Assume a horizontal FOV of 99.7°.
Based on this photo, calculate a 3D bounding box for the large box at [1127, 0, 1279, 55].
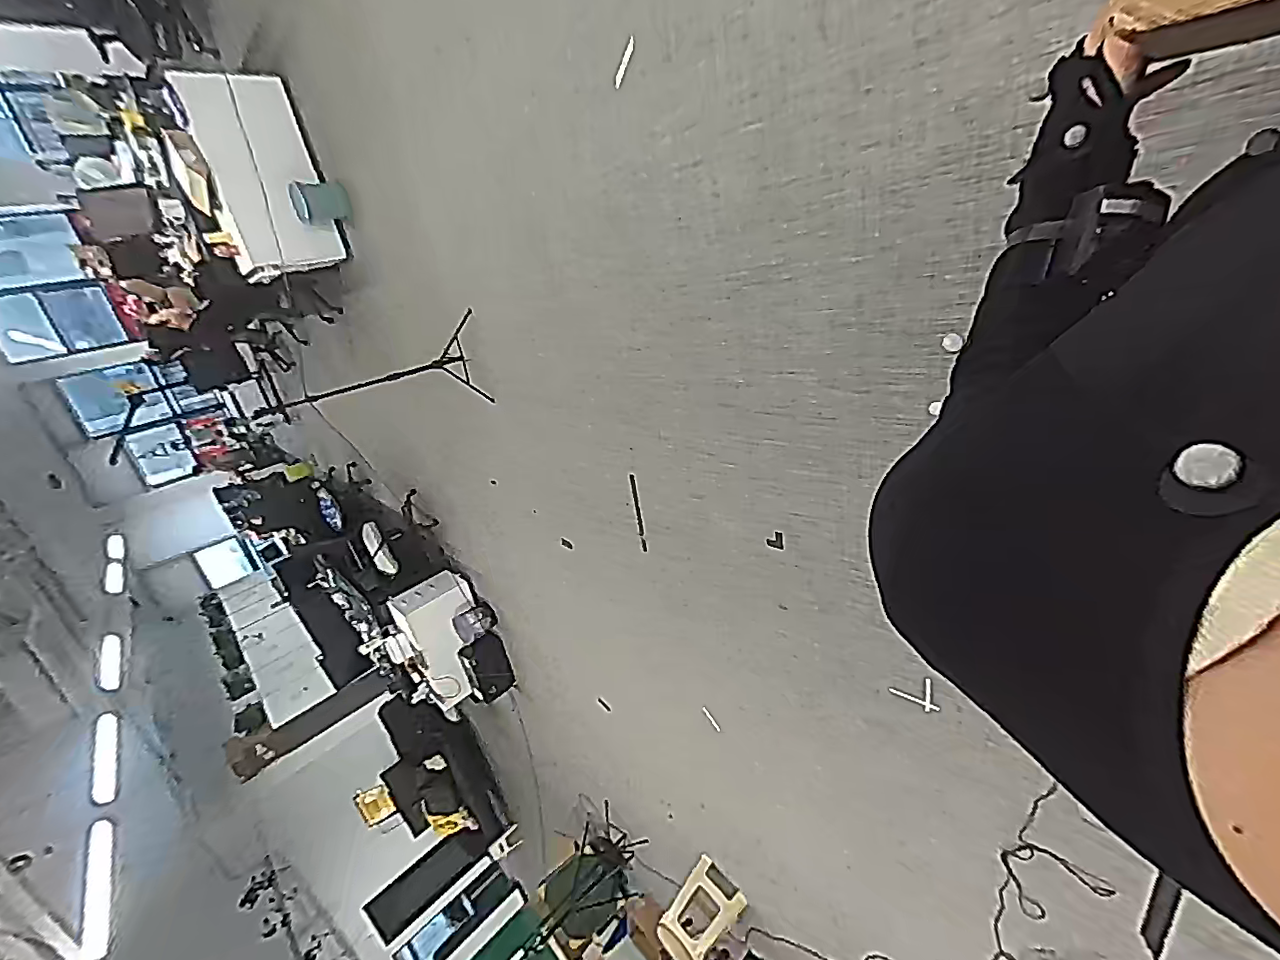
[{"bbox_3d":[0.405,-0.355,0.120,0.408,0.320,0.320,12,126,40],"label":"large box"}]
